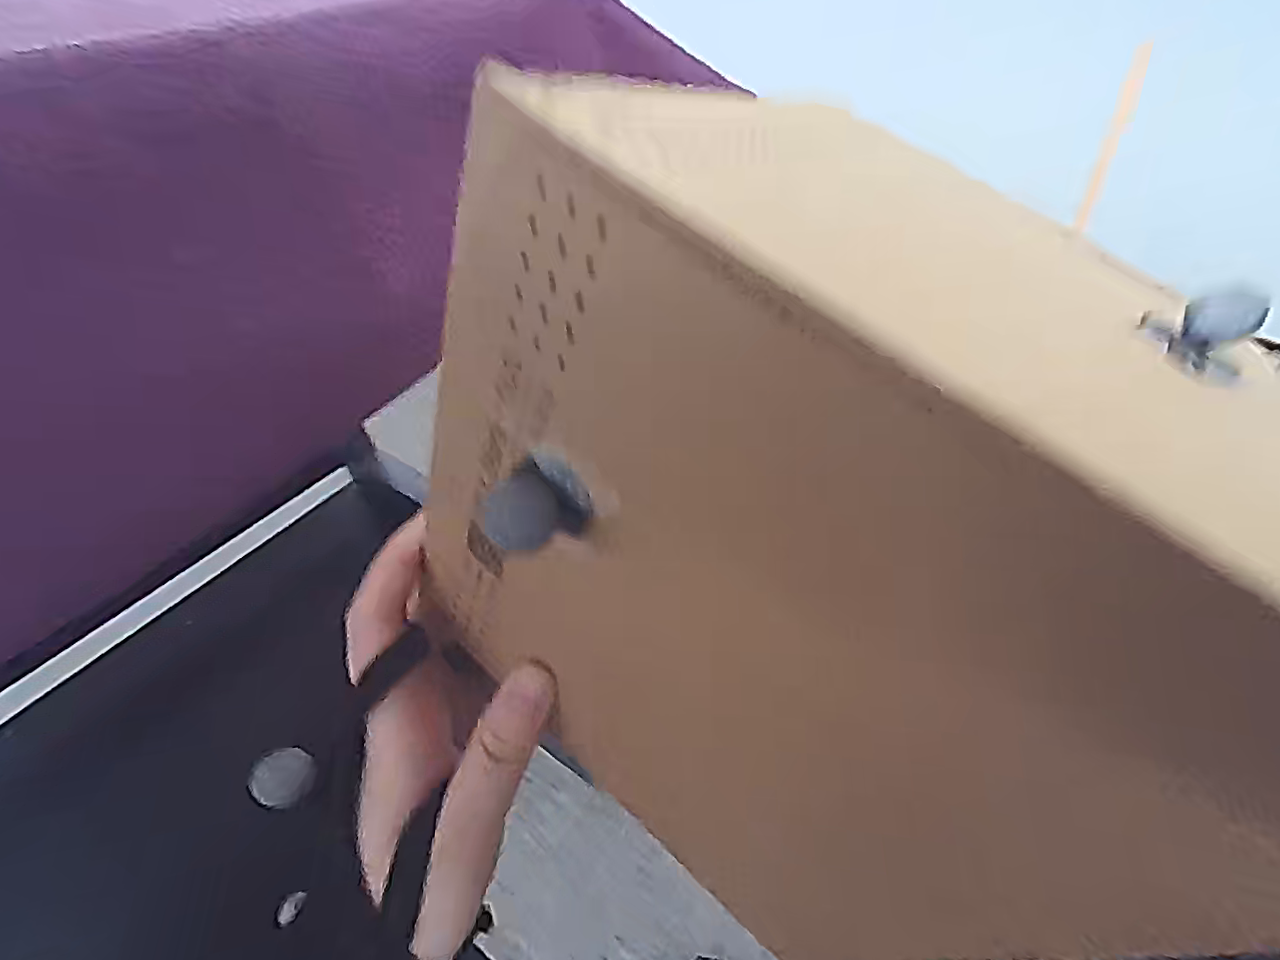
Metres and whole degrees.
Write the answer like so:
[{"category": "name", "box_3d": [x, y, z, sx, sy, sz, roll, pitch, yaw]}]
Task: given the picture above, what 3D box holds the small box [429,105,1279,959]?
[{"category": "small box", "box_3d": [0.063, 0.006, 0.178, 0.176, 0.168, 0.179, 39, 44, 14]}]
